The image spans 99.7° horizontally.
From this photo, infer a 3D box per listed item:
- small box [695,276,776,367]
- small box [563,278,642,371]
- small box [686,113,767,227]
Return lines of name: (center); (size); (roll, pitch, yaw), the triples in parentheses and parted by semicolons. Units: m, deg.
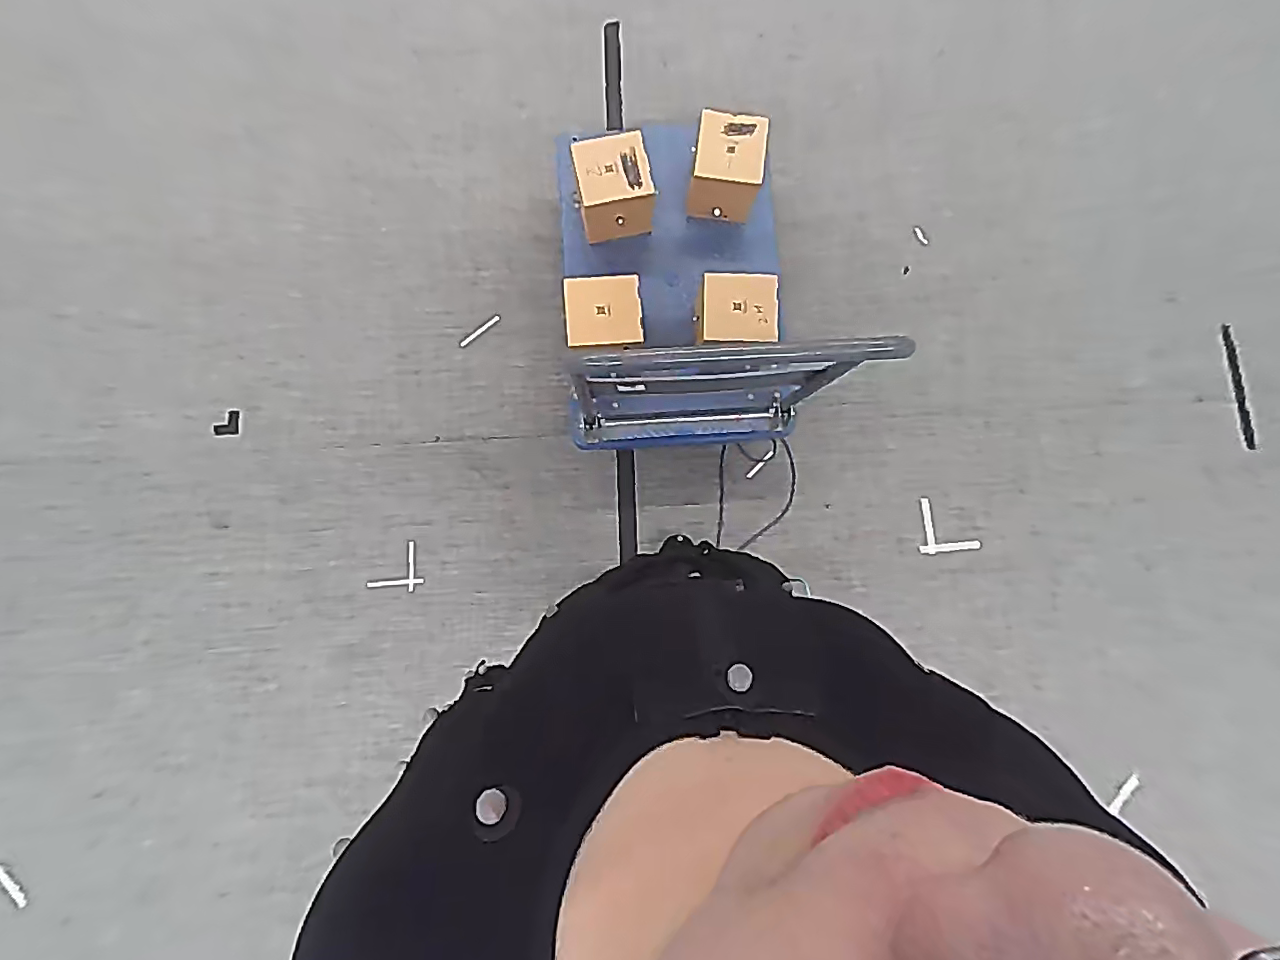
small box: (0.229, -0.383, 1.330); (0.179, 0.176, 0.168); (2, 84, -1)
small box: (-0.089, -0.373, 1.321); (0.179, 0.176, 0.168); (-5, 83, -4)
small box: (0.214, -0.782, 1.375); (0.168, 0.176, 0.179); (7, 84, 0)
